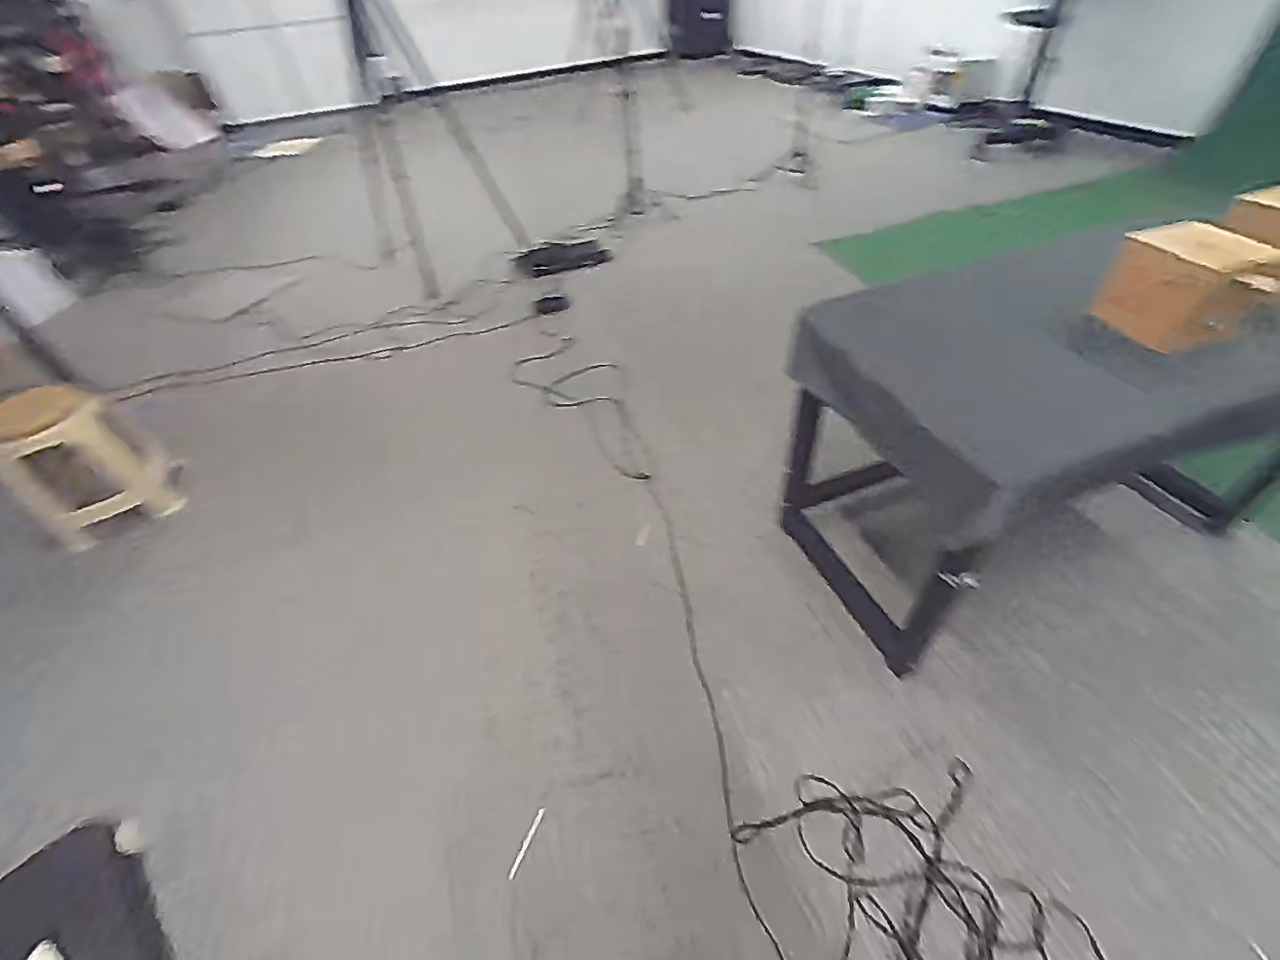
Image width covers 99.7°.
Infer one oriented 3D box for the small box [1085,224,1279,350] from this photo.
[{"bbox_3d":[1.045,-0.379,1.064,0.168,0.176,0.179,-13,46,-8],"label":"small box"}]
